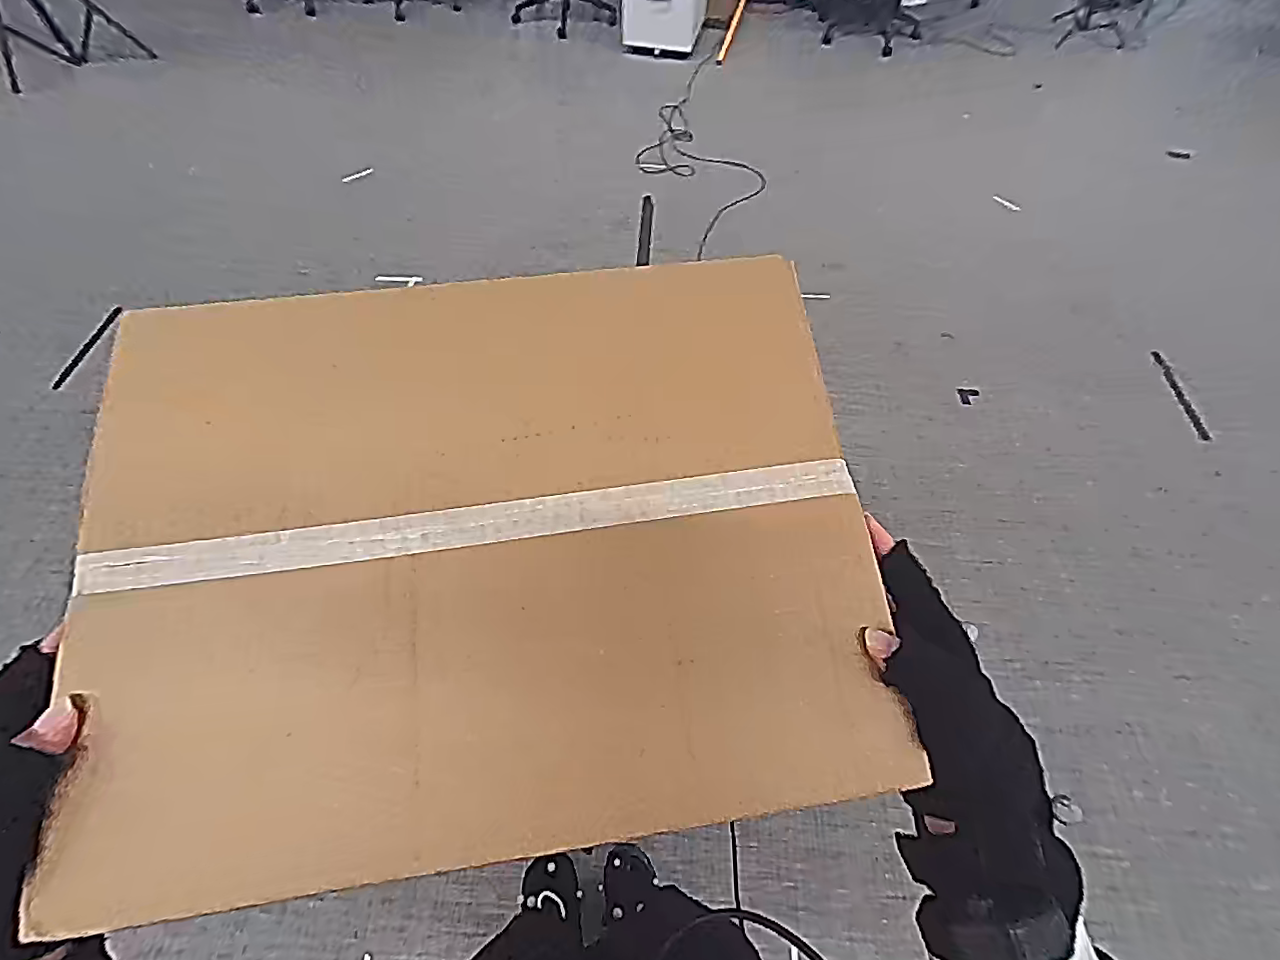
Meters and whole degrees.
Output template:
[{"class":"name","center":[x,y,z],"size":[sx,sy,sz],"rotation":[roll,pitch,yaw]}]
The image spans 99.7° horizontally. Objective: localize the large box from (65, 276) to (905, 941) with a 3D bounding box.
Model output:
[{"class":"large box","center":[-0.086,0.078,0.439],"size":[0.408,0.320,0.320],"rotation":[-7,72,-4]}]
